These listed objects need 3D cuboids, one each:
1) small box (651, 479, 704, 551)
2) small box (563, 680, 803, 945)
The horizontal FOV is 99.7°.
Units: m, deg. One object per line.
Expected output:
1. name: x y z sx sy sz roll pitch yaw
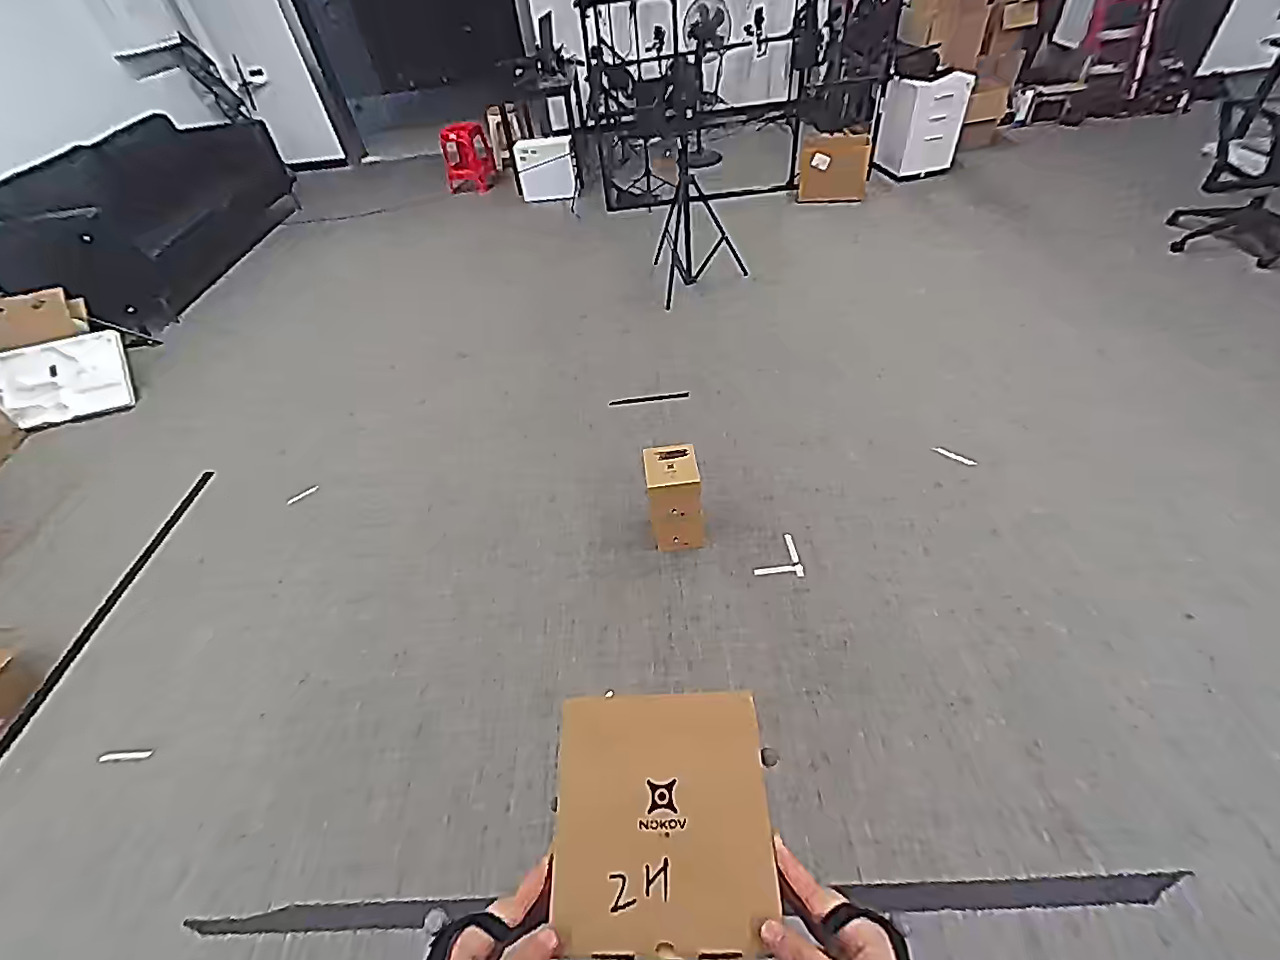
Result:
1. small box: 0.129 0.122 1.875 0.168 0.176 0.179 -7 45 1
2. small box: 0.035 0.294 0.479 0.168 0.176 0.179 -5 51 4
